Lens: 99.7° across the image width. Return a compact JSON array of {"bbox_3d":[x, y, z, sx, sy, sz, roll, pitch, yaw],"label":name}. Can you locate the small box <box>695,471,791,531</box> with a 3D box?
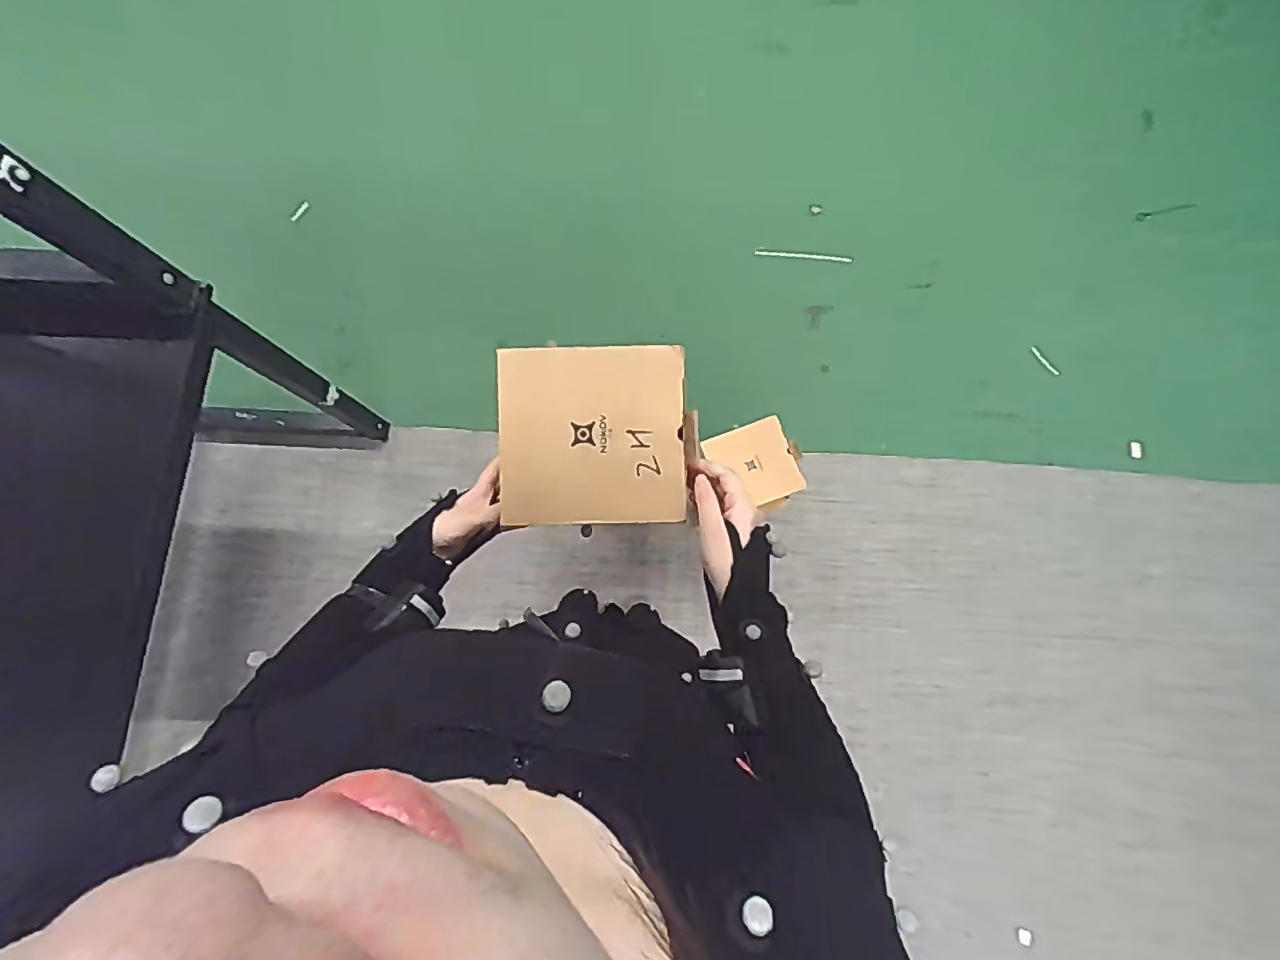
[{"bbox_3d":[0.241,0.023,1.320,0.179,0.176,0.168,-16,82,-5],"label":"small box"}]

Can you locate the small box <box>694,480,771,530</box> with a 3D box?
[{"bbox_3d":[0.246,0.044,1.481,0.179,0.176,0.168,-4,79,-3],"label":"small box"}]

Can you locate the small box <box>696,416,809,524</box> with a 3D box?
[{"bbox_3d":[0.229,-0.013,1.161,0.179,0.176,0.168,-20,81,-6],"label":"small box"}]

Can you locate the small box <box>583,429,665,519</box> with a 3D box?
[{"bbox_3d":[-0.036,-0.006,1.318,0.168,0.176,0.179,10,79,1],"label":"small box"}]
